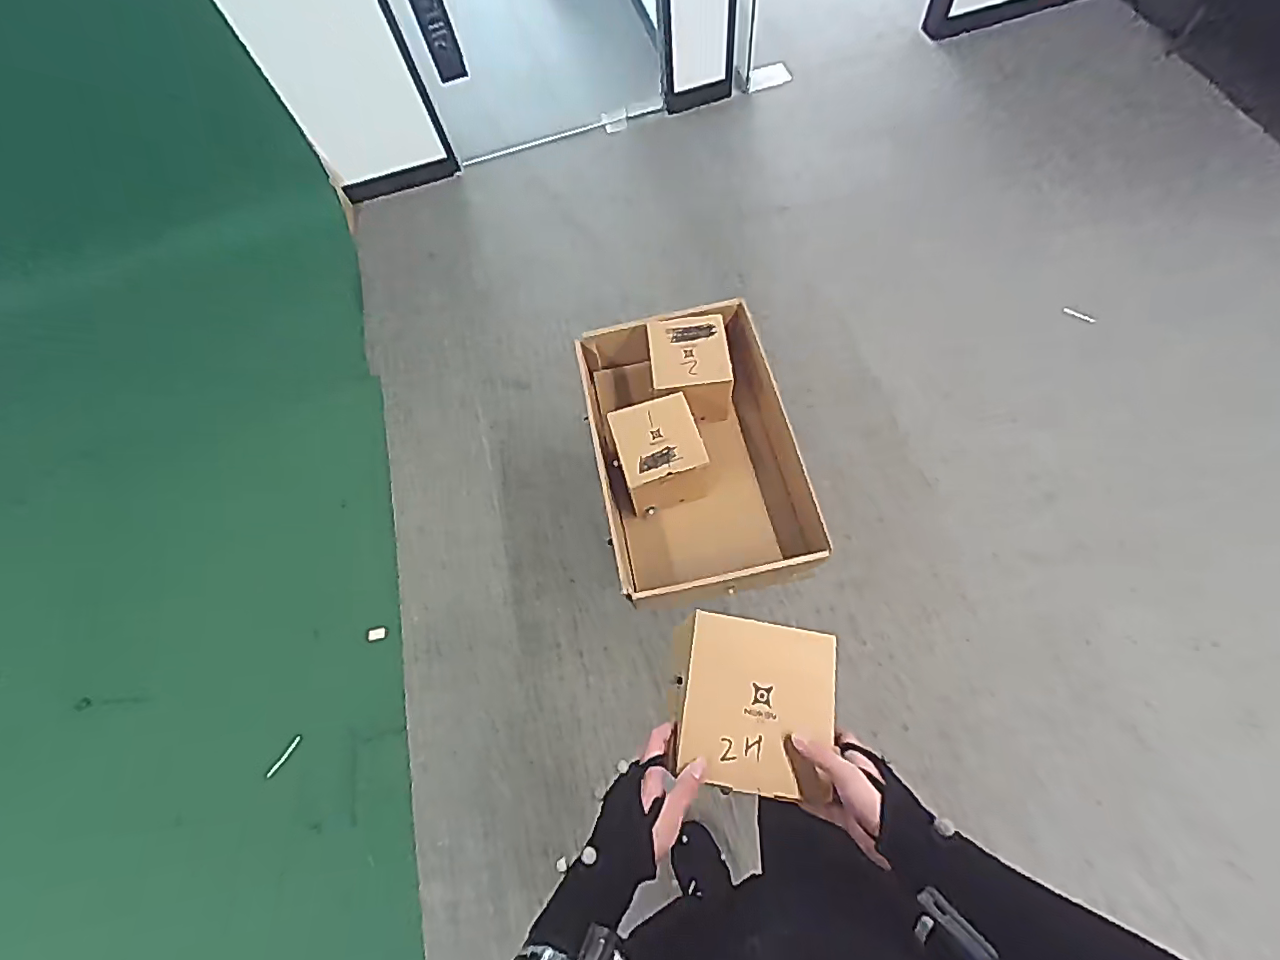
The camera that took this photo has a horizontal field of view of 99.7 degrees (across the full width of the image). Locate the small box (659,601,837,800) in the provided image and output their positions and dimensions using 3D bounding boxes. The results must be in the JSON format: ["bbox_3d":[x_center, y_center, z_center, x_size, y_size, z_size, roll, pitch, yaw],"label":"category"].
[{"bbox_3d":[0.122,0.261,0.655,0.168,0.176,0.179,11,69,-1],"label":"small box"}]
